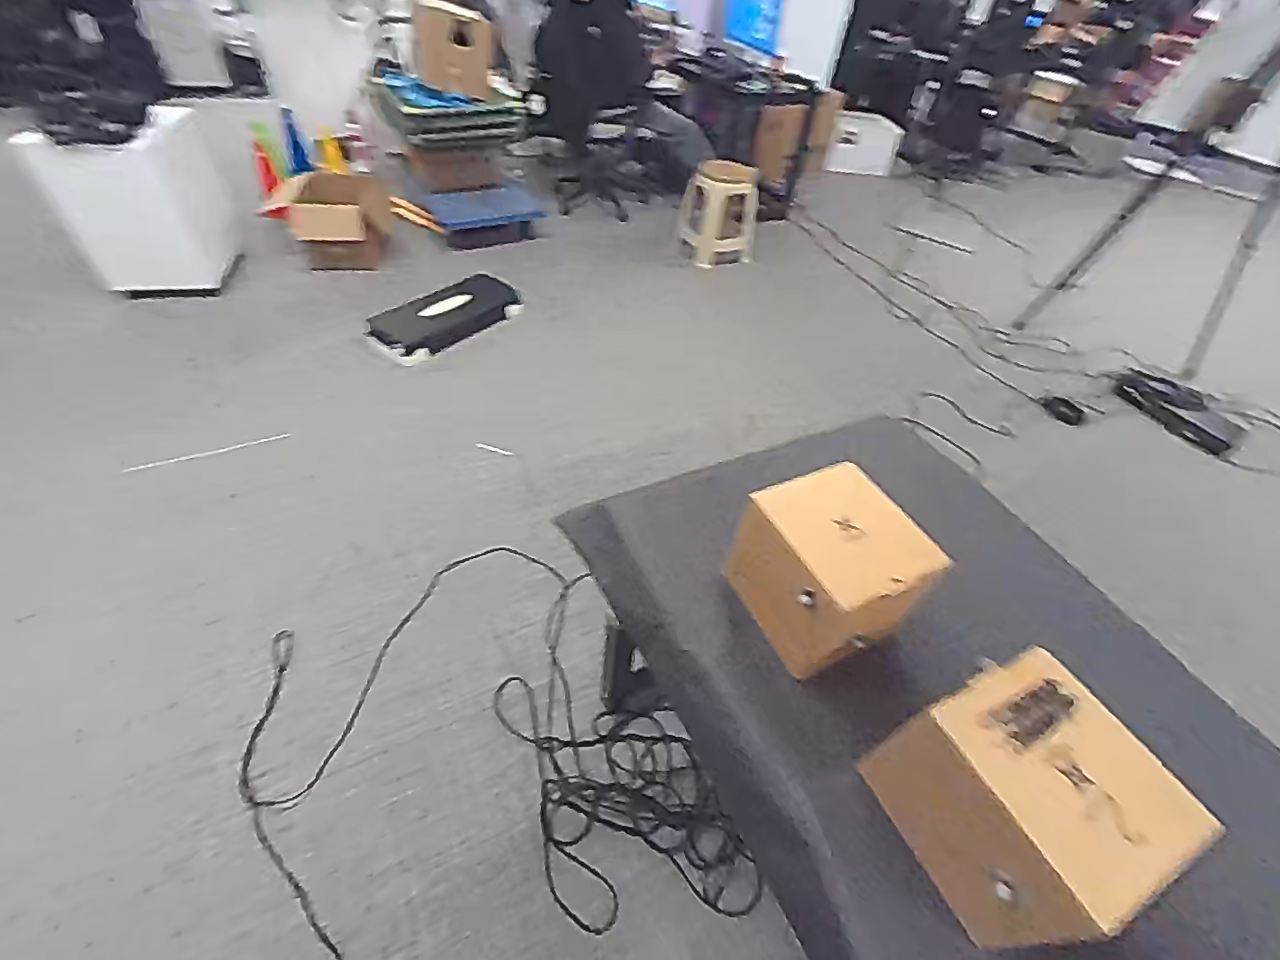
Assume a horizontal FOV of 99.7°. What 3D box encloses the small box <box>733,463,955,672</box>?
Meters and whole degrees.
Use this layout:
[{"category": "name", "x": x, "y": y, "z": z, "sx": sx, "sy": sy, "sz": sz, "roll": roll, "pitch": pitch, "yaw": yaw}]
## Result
[{"category": "small box", "x": 0.241, "y": 0.109, "z": 0.690, "sx": 0.168, "sy": 0.176, "sz": 0.179, "roll": -16, "pitch": 52, "yaw": -22}]
